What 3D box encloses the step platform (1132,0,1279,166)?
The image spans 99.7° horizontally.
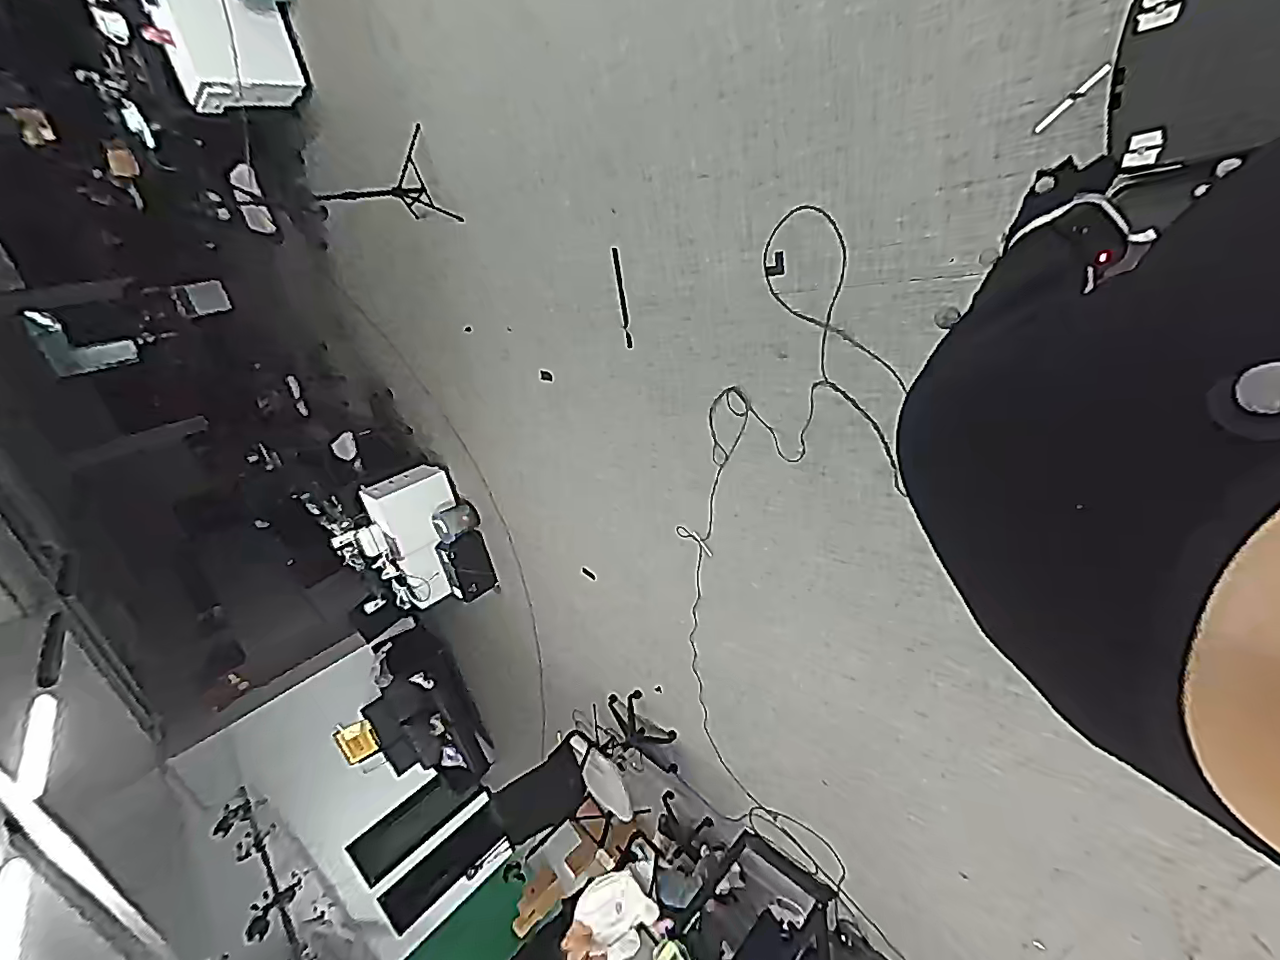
[{"bbox_3d":[1.126,-0.664,0.731,0.684,0.204,0.286,11,122,44],"label":"step platform"}]
